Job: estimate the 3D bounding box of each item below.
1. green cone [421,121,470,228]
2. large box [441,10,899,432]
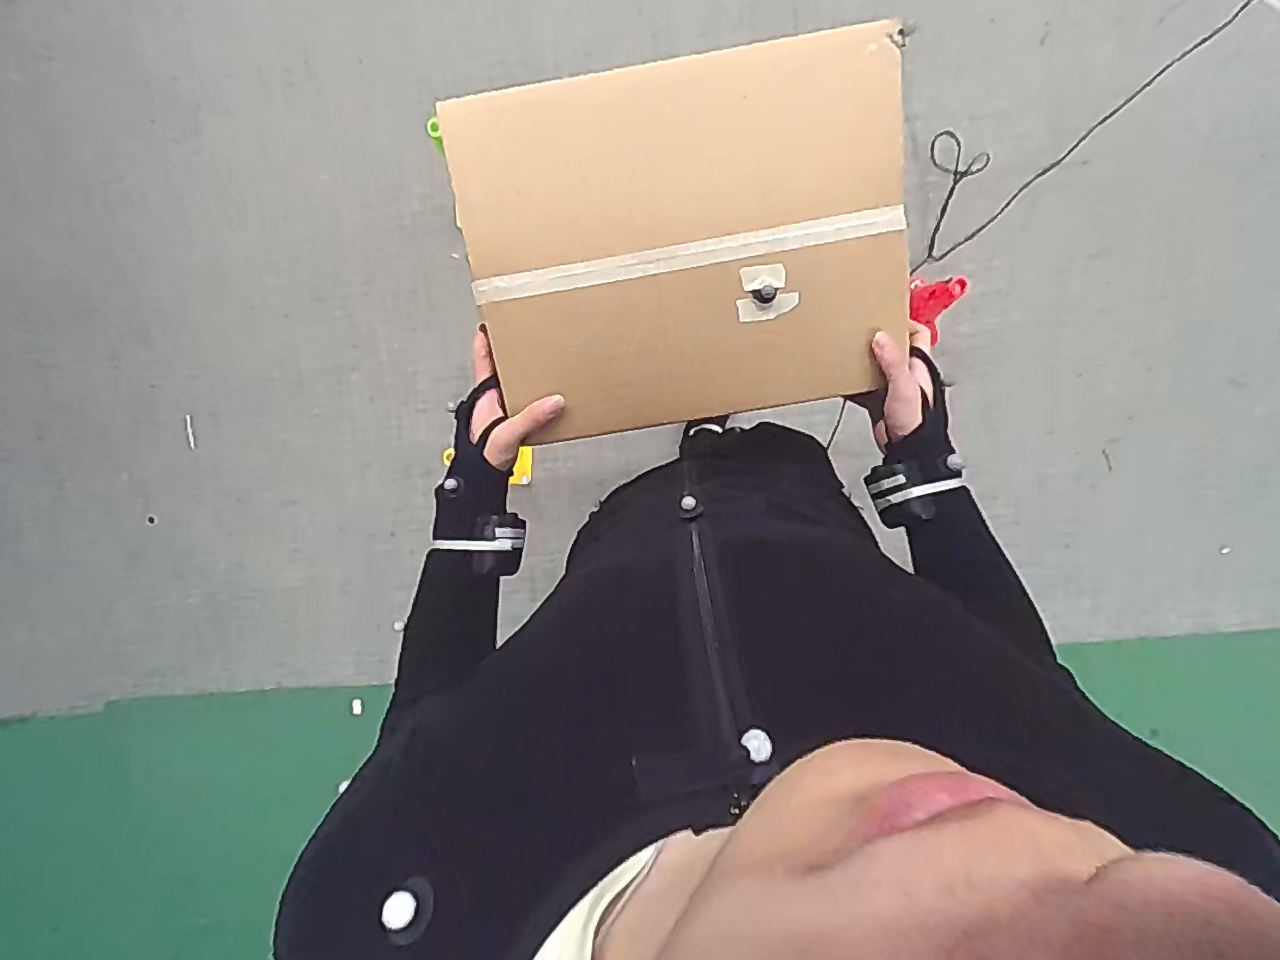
[{"bbox_3d":[-0.469,-0.821,1.401,0.200,0.368,0.202,1,97,5],"label":"green cone"},{"bbox_3d":[0.038,-0.267,0.654,0.408,0.320,0.320,-9,107,1],"label":"large box"}]
